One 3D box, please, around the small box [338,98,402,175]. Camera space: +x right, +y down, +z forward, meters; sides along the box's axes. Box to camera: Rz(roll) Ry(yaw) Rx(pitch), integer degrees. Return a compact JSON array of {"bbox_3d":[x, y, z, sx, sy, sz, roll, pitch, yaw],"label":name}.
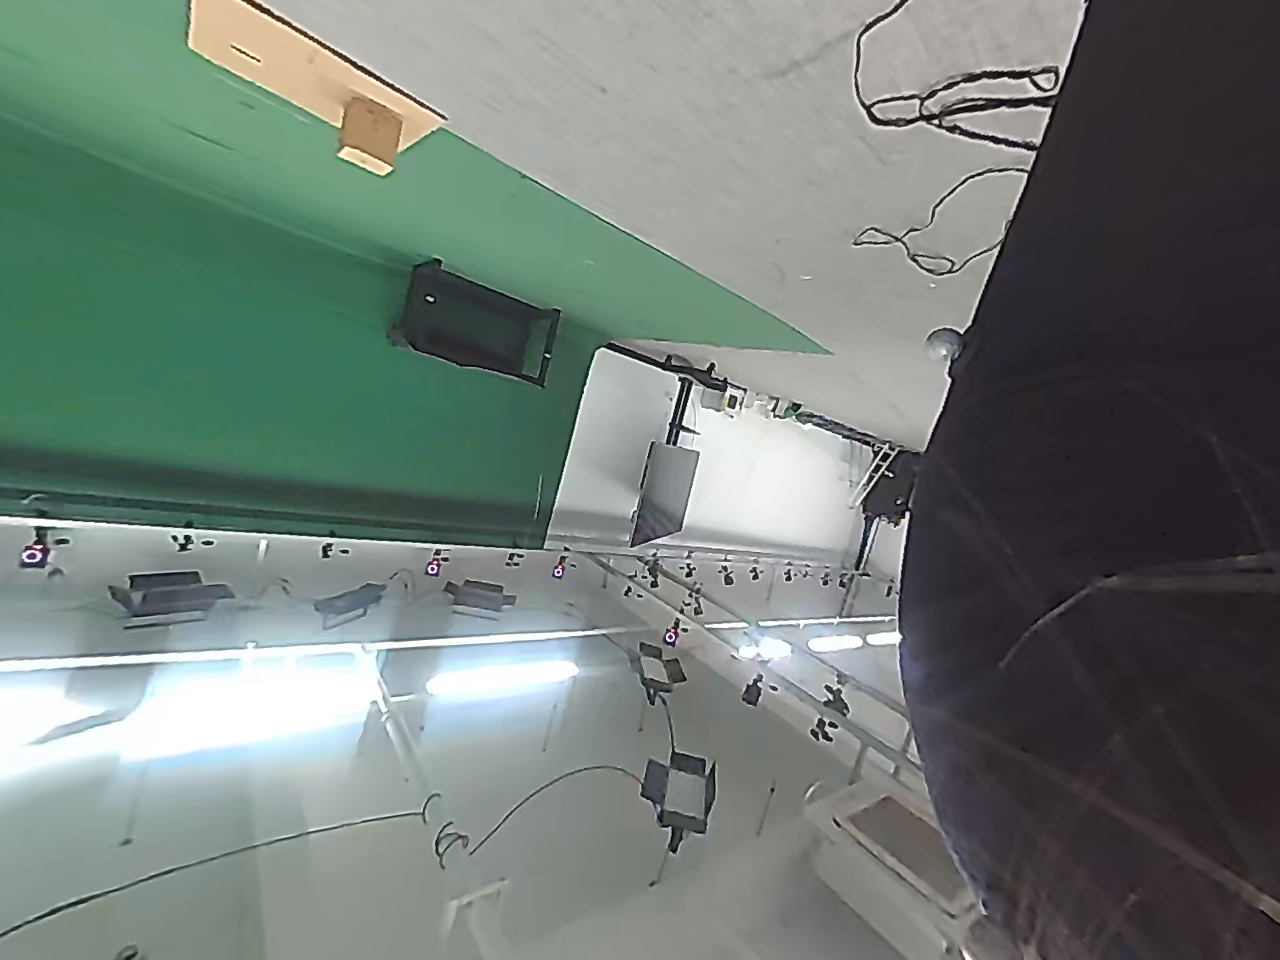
[{"bbox_3d":[-1.002,-1.273,2.008,0.168,0.176,0.179,8,-172,-41],"label":"small box"}]
